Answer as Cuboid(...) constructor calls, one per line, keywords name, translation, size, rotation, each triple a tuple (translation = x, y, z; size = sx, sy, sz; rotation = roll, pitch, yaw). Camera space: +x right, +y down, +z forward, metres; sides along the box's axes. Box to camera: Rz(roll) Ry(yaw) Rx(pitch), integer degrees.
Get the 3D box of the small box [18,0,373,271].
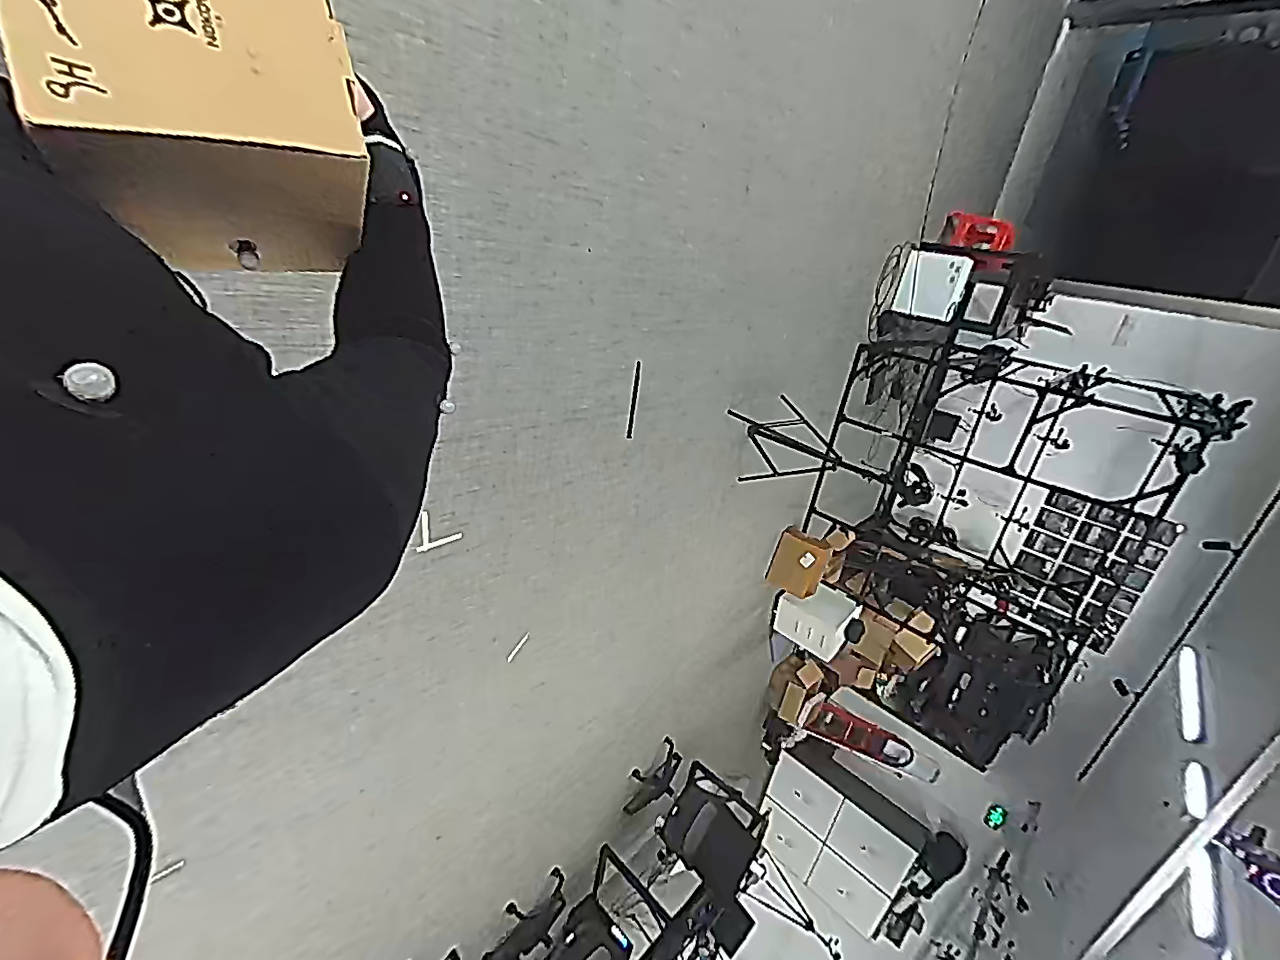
Cuboid(name="small box", translation=(-0.330, -0.282, 0.424), size=(0.179, 0.176, 0.168), rotation=(-13, 86, -33))
